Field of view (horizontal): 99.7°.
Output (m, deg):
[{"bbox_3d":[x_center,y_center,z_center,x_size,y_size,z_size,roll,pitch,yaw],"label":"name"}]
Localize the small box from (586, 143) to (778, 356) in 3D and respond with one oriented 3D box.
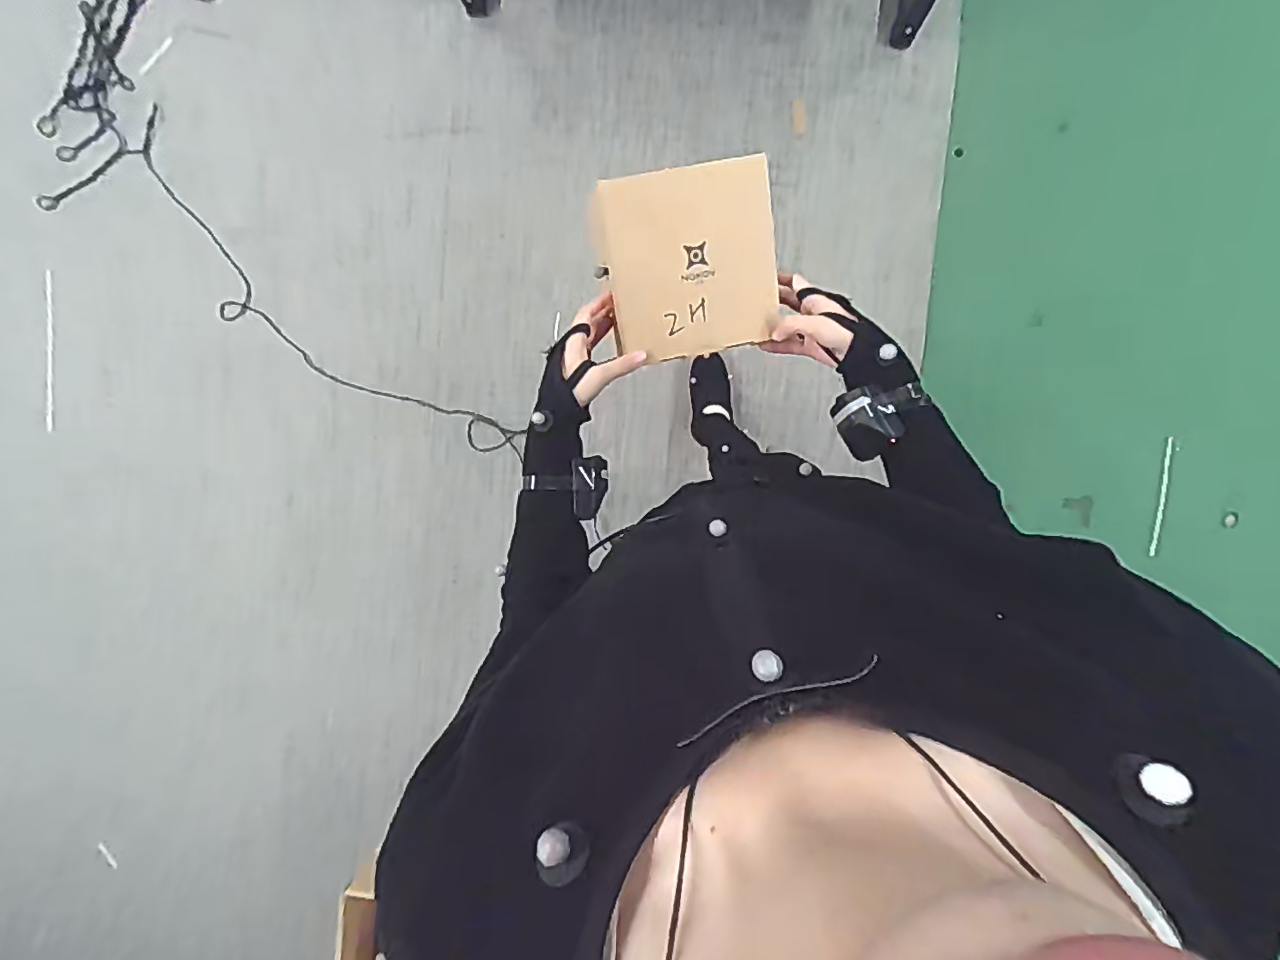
[{"bbox_3d":[0.038,-0.244,0.599,0.168,0.176,0.179,-12,110,-5],"label":"small box"}]
